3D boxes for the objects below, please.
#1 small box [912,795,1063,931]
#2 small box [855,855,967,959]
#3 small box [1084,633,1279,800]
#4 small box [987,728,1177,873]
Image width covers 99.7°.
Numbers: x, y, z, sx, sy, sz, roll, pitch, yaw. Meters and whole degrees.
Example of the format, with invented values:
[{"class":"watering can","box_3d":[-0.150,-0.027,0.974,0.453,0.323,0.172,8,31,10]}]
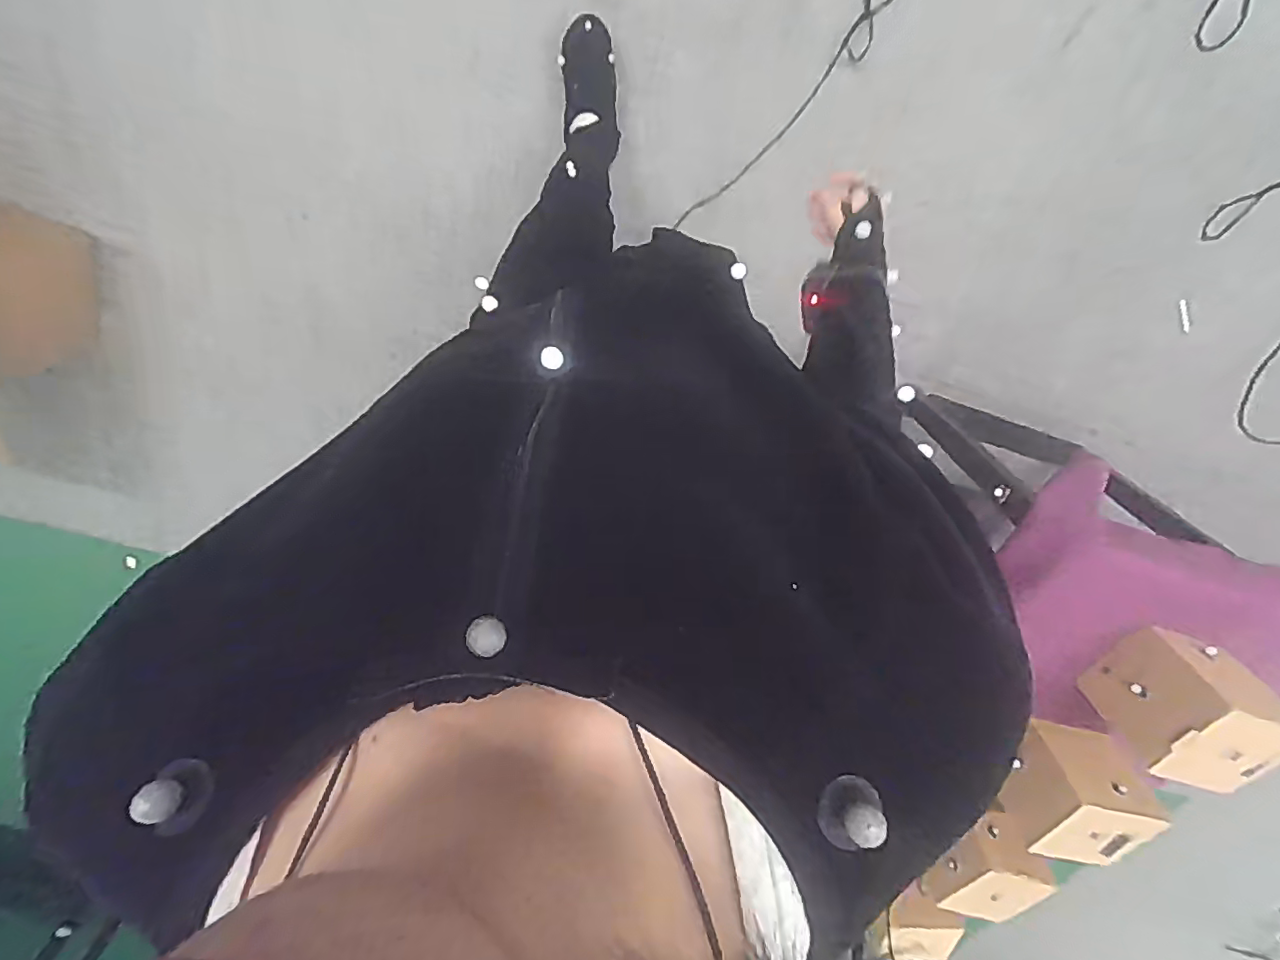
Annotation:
[{"class":"small box","box_3d":[0.714,0.800,1.138,0.168,0.176,0.179,21,119,-9]},{"class":"small box","box_3d":[0.621,1.007,1.263,0.168,0.176,0.179,-1,121,2]},{"class":"small box","box_3d":[0.895,0.376,0.880,0.179,0.176,0.168,19,120,-8]},{"class":"small box","box_3d":[0.808,0.594,1.012,0.179,0.176,0.168,14,120,-5]}]
